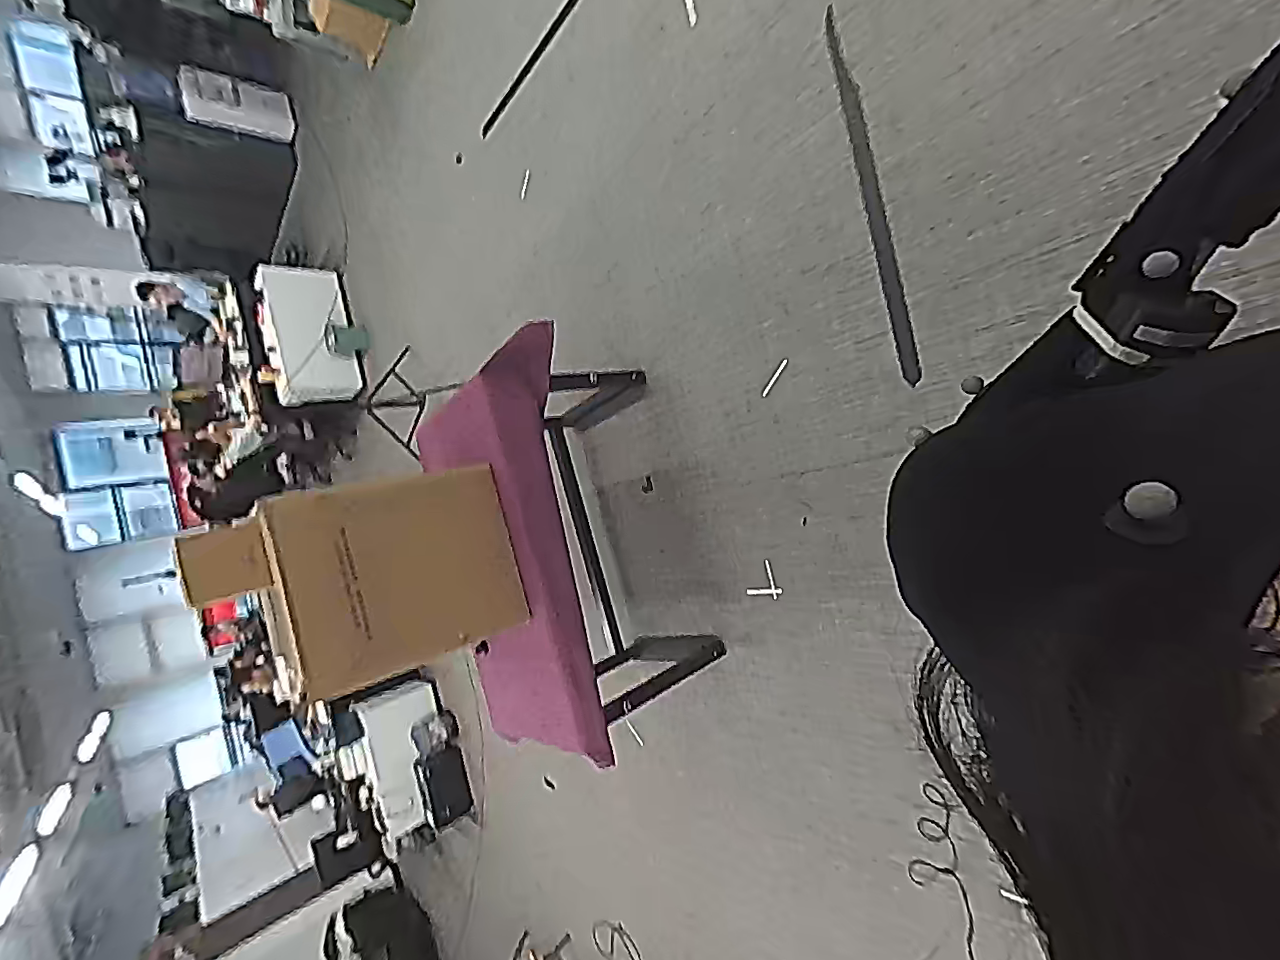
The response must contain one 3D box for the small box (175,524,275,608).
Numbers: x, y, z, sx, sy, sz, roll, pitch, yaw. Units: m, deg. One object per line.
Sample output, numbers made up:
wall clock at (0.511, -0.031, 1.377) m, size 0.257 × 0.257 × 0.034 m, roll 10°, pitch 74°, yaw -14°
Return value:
small box at (-1.057, 0.215, 1.377) m, size 0.168 × 0.176 × 0.179 m, roll -18°, pitch 86°, yaw 47°
